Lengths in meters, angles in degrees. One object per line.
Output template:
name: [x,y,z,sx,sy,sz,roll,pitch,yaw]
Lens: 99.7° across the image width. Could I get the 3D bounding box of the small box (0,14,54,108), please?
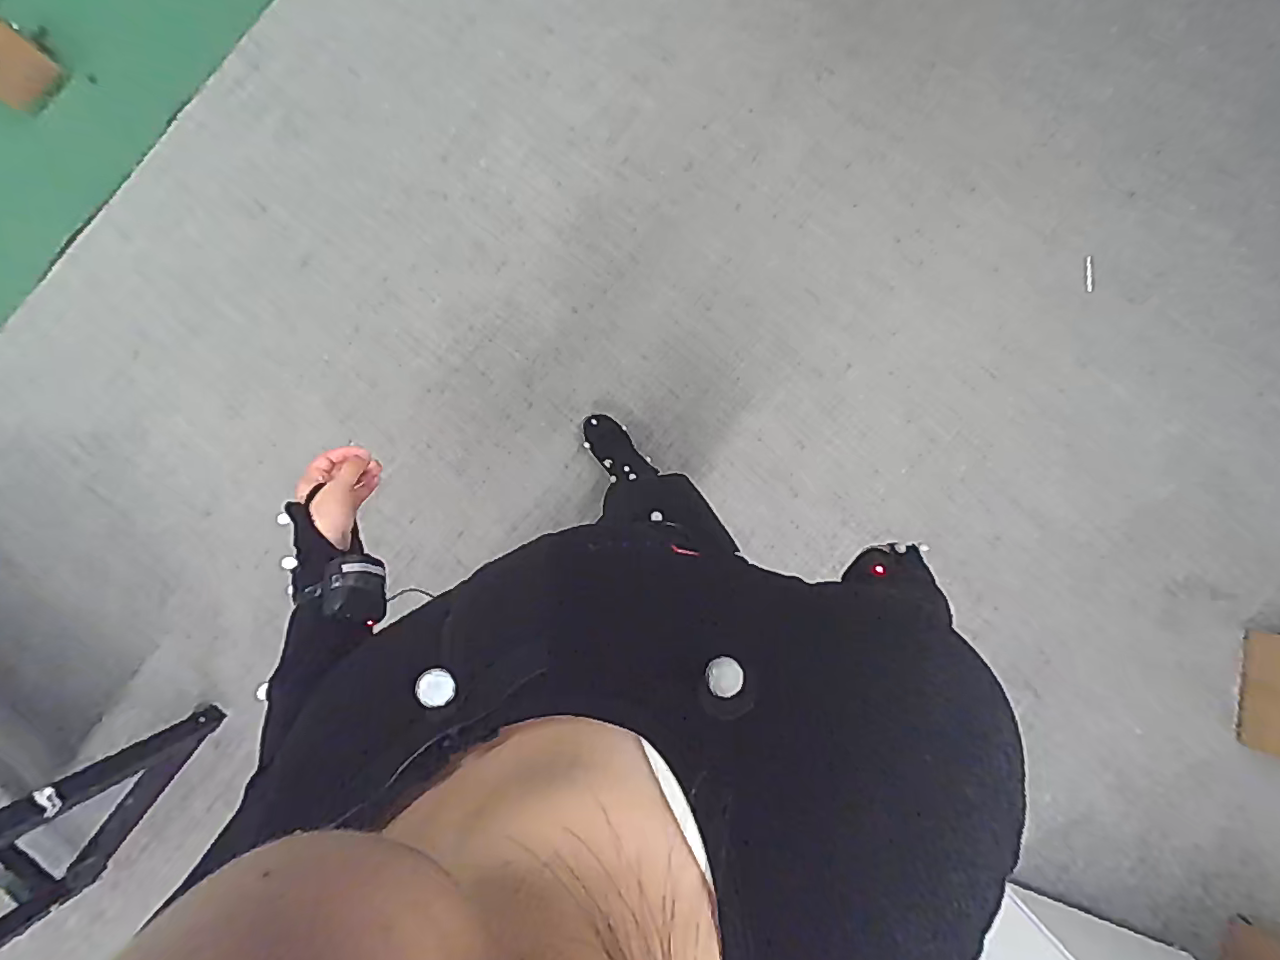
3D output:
small box: [-1.770,-1.173,1.463,0.168,0.176,0.179,43,89,1]
